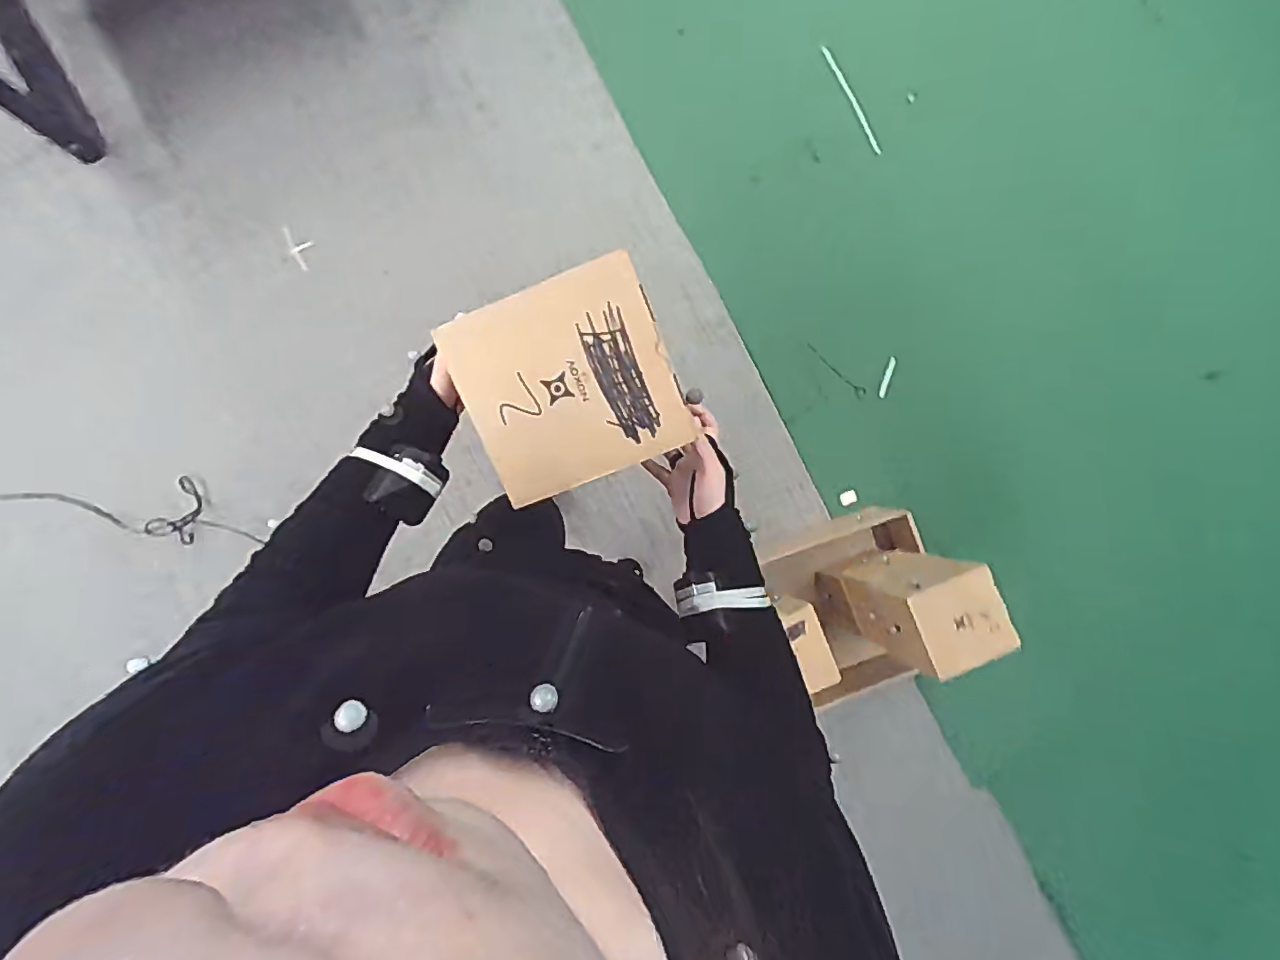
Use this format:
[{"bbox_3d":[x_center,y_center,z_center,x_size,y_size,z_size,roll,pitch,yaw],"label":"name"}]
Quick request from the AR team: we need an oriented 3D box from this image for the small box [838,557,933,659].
[{"bbox_3d":[0.596,0.291,1.266,0.168,0.176,0.179,-19,87,-5],"label":"small box"}]

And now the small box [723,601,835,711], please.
[{"bbox_3d":[0.307,0.388,1.234,0.168,0.176,0.179,-20,89,-6],"label":"small box"}]

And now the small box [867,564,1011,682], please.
[{"bbox_3d":[0.592,0.281,1.101,0.179,0.176,0.168,-20,88,-5],"label":"small box"}]
